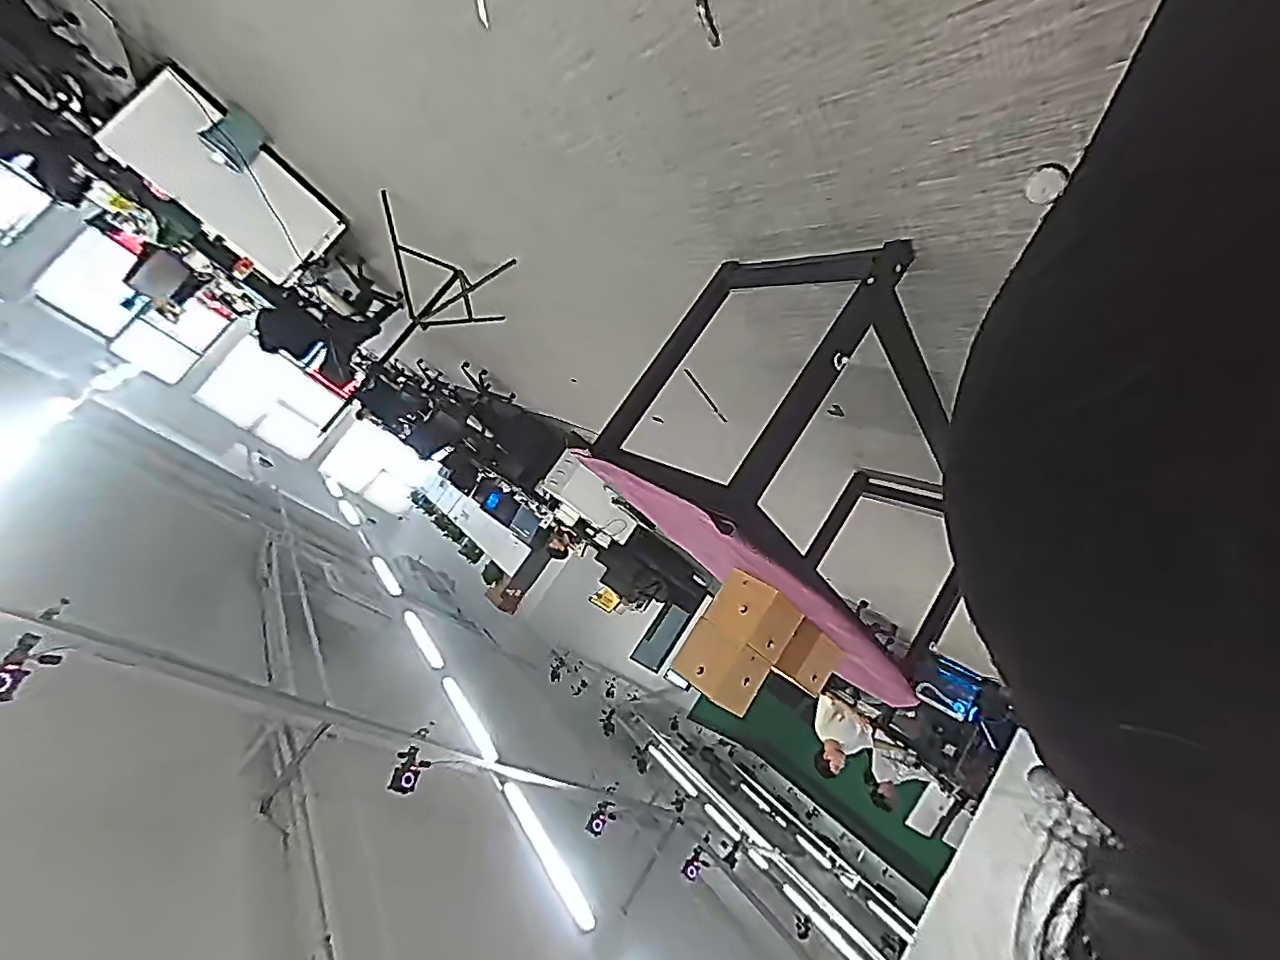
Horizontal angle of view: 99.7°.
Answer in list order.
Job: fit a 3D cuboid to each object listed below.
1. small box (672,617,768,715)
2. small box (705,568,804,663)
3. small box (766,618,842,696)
[{"bbox_3d":[0.227,0.504,1.480,0.179,0.176,0.168,23,165,50],"label":"small box"},{"bbox_3d":[0.321,0.369,1.498,0.168,0.176,0.179,23,165,50],"label":"small box"},{"bbox_3d":[0.491,0.526,1.665,0.168,0.176,0.179,22,163,51],"label":"small box"}]
